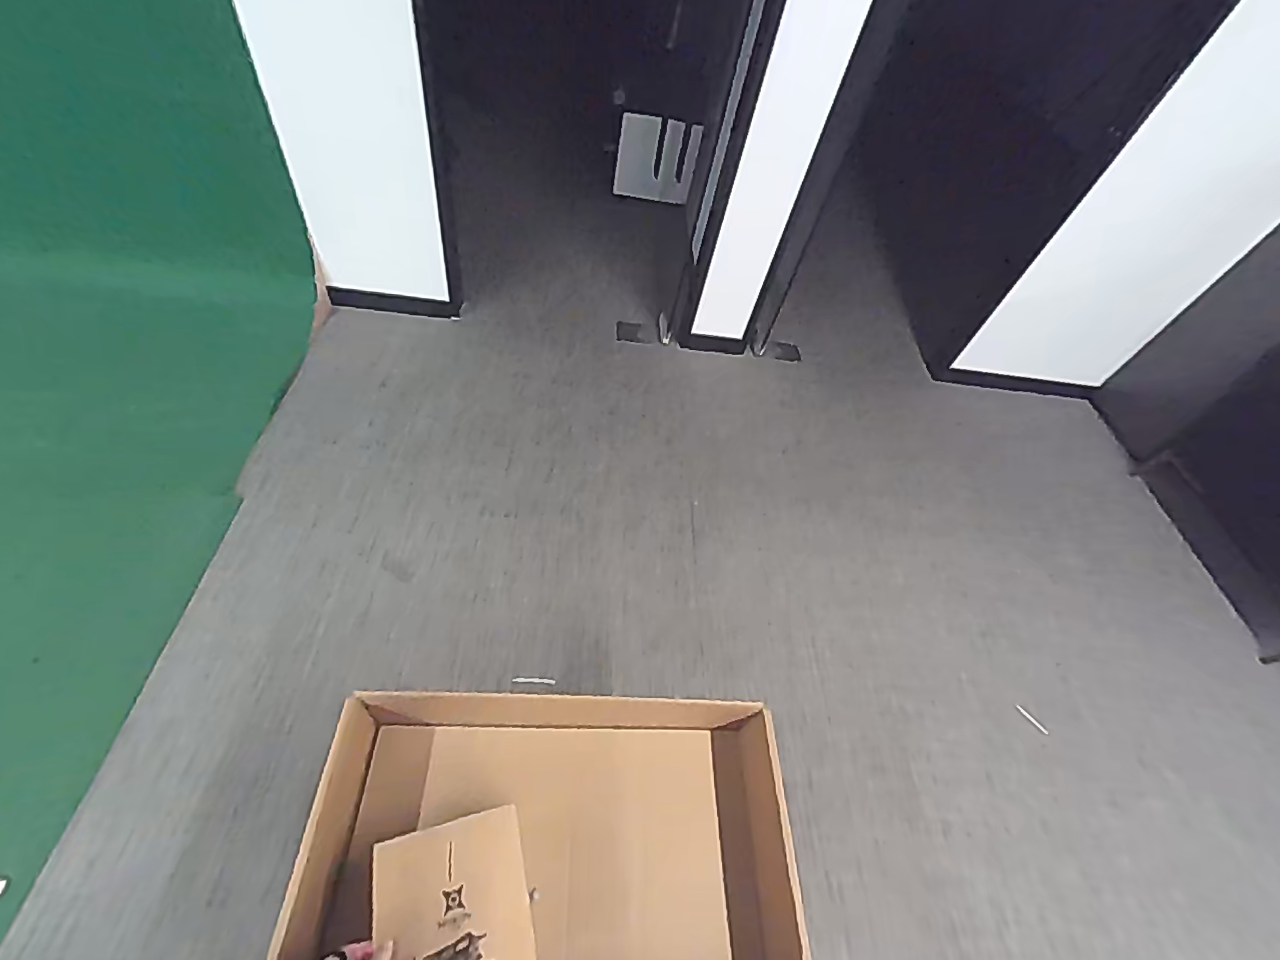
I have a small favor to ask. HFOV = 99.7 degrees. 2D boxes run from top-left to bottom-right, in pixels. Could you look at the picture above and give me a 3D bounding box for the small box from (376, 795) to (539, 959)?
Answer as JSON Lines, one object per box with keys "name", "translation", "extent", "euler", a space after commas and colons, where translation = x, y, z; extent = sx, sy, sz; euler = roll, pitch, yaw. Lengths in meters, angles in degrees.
{"name": "small box", "translation": [-0.220, 0.522, 0.670], "extent": [0.168, 0.176, 0.179], "euler": [-8, 53, -18]}
